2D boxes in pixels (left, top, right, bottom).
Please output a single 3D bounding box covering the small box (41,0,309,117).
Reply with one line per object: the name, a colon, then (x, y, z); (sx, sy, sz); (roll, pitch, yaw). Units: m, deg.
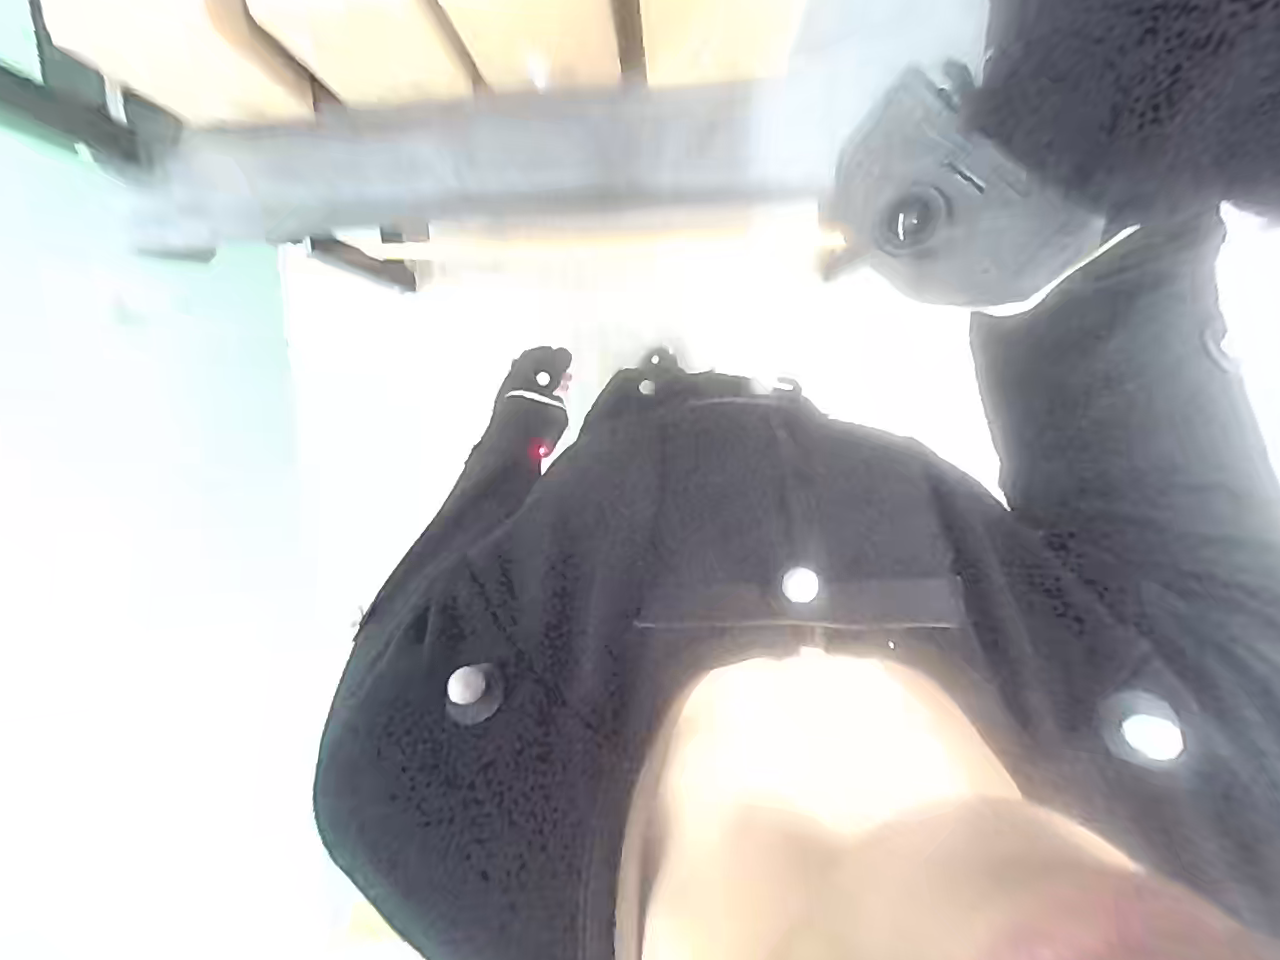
small box: (-0.503, -0.543, 0.600); (0.168, 0.176, 0.179); (-1, 98, 3)
